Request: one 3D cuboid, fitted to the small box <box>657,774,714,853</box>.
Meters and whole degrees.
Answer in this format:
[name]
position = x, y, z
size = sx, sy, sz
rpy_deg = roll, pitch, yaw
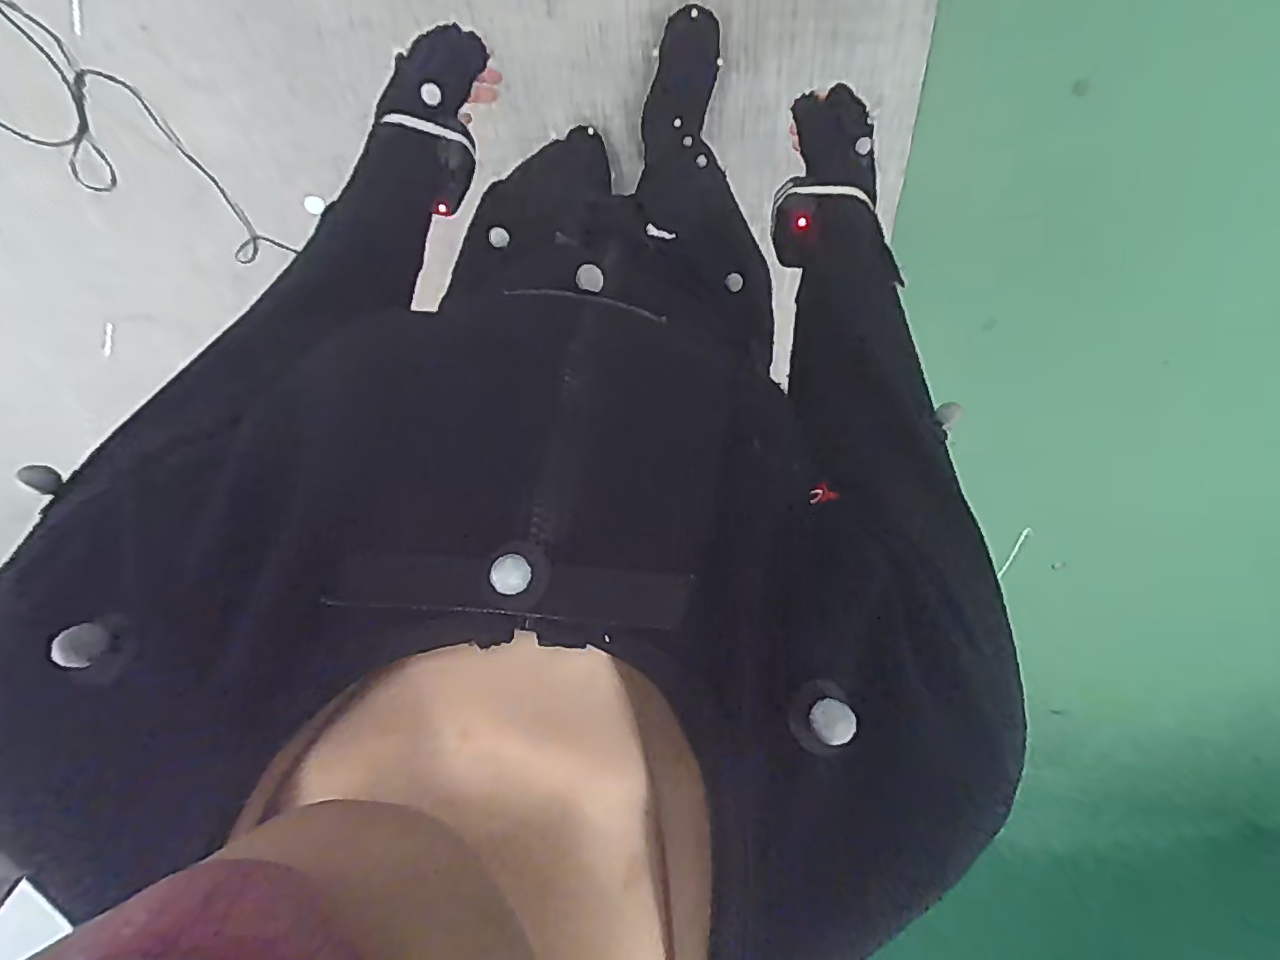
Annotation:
[small box]
position = 0.146, 1.039, 1.685
size = 0.168, 0.176, 0.179
rpy_deg = -3, 133, 9
